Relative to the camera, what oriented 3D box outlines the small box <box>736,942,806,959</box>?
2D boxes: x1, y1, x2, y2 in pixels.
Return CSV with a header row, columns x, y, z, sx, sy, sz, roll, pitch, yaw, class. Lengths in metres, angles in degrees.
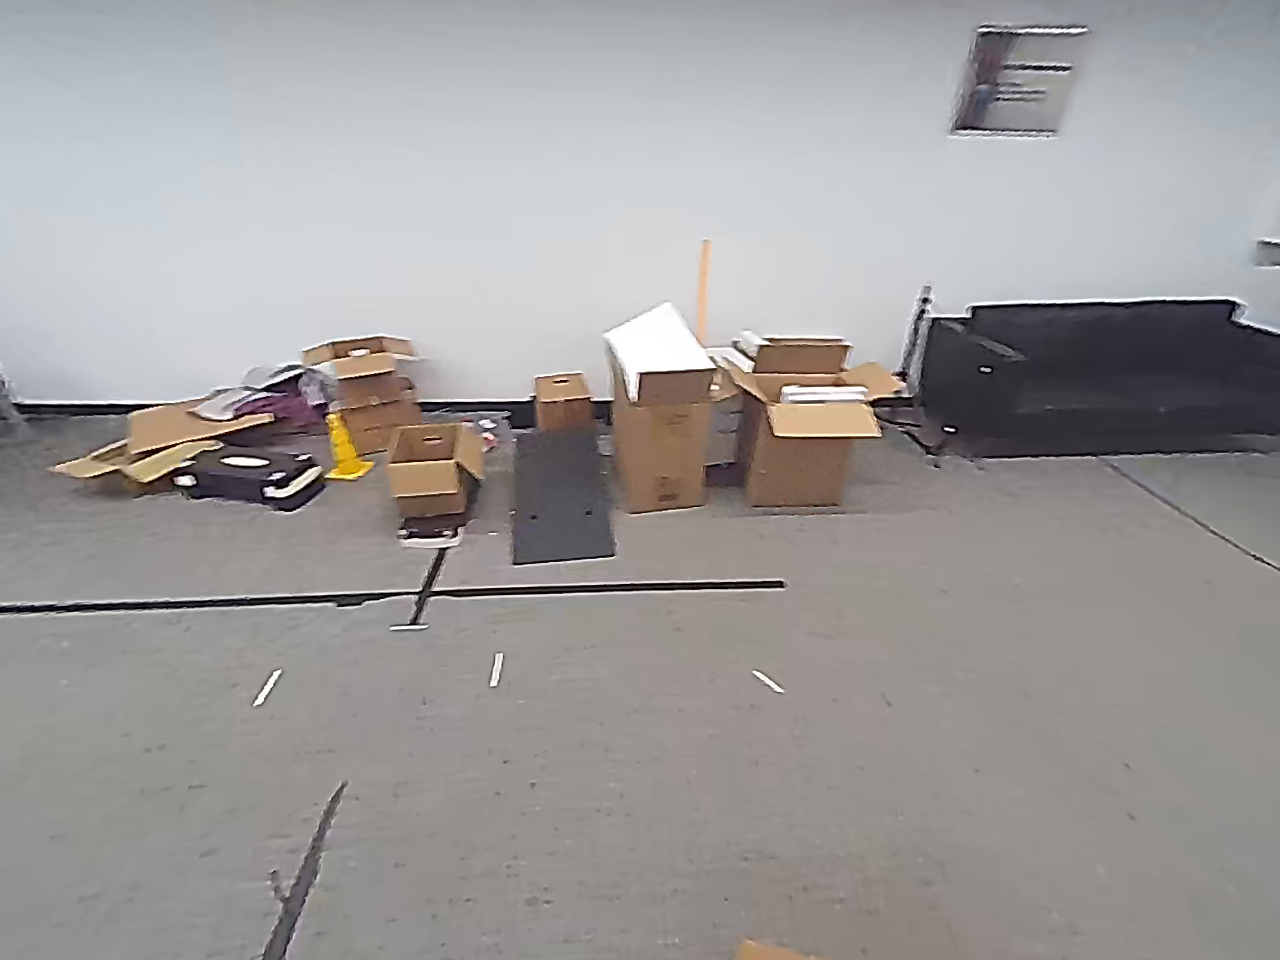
x,y,z,sx,sy,sz,roll,pitch,yaw,class
0.173,0.618,0.554,0.168,0.176,0.179,6,43,12,small box
